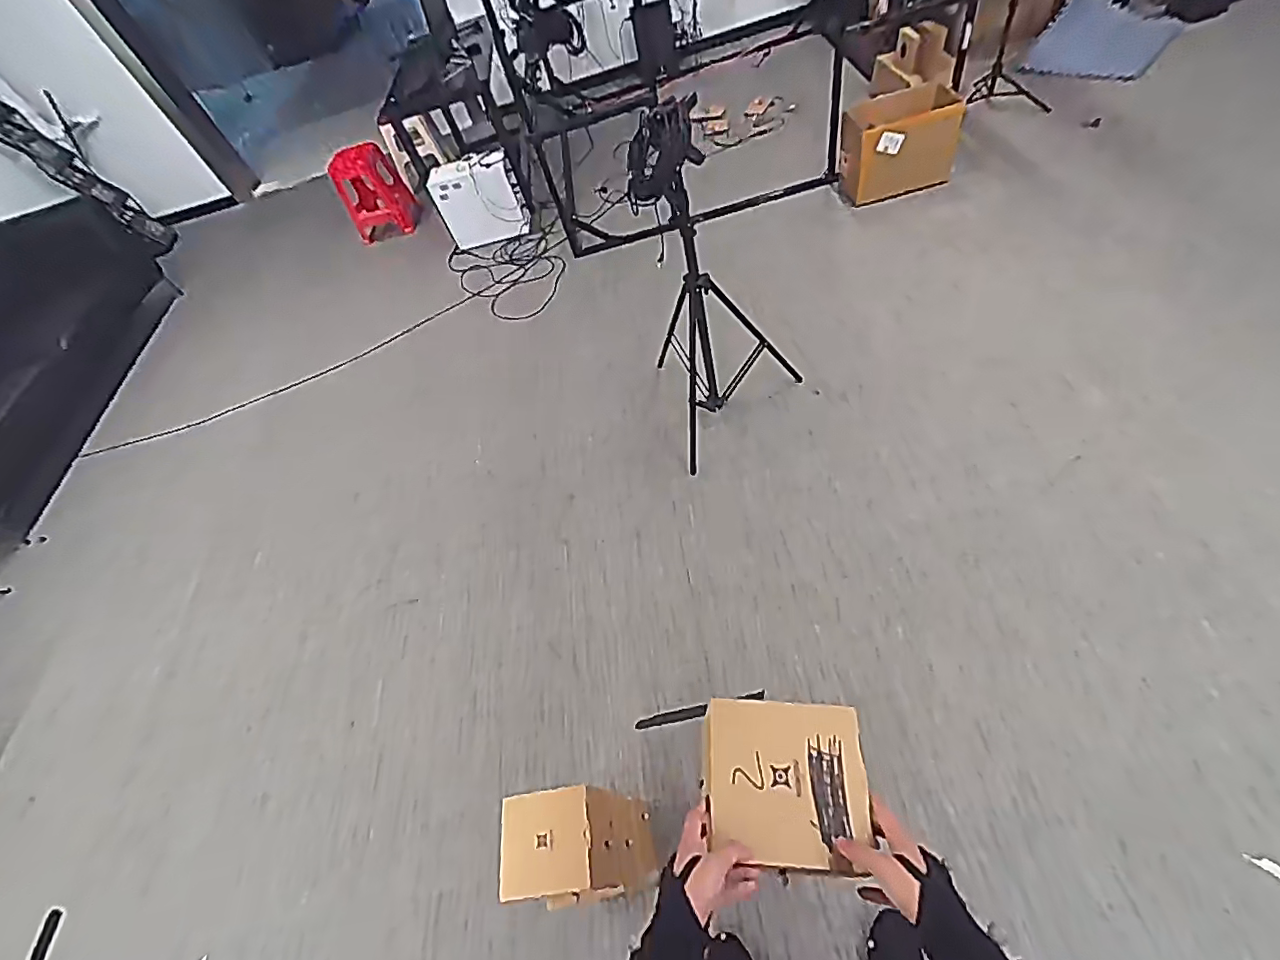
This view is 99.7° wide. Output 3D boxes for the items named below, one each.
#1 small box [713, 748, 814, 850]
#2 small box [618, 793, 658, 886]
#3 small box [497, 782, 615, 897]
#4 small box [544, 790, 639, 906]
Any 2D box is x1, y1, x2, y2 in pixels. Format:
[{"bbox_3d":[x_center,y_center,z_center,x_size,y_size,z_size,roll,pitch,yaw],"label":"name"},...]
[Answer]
[{"bbox_3d":[0.261,0.688,1.161,0.179,0.176,0.168,-11,53,6],"label":"small box"},{"bbox_3d":[-0.067,0.891,1.317,0.168,0.176,0.179,-19,53,3],"label":"small box"},{"bbox_3d":[-0.161,0.708,1.063,0.179,0.176,0.168,-13,53,7],"label":"small box"},{"bbox_3d":[-0.111,0.805,1.185,0.168,0.176,0.179,-18,53,4],"label":"small box"}]
